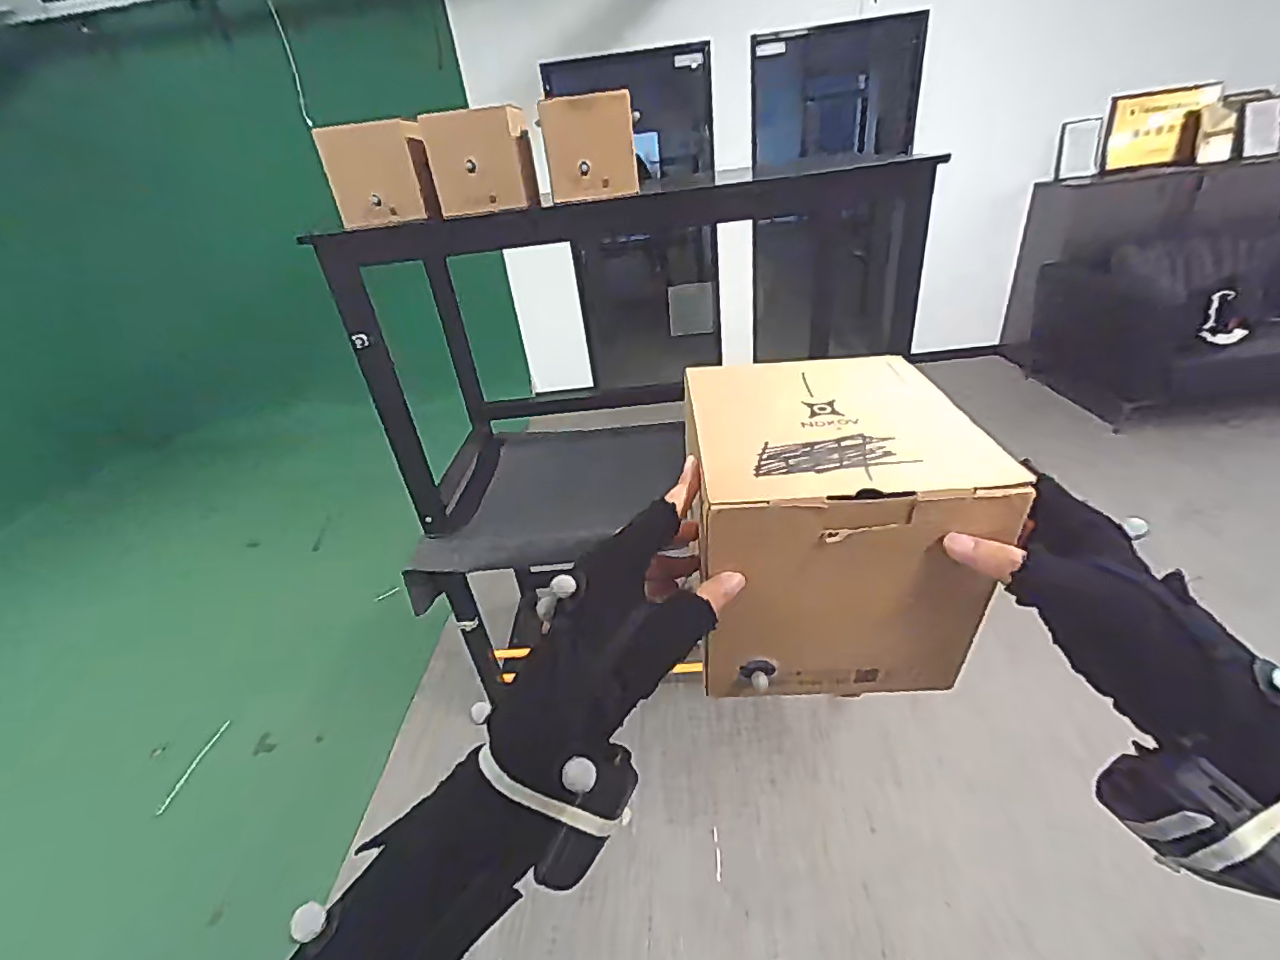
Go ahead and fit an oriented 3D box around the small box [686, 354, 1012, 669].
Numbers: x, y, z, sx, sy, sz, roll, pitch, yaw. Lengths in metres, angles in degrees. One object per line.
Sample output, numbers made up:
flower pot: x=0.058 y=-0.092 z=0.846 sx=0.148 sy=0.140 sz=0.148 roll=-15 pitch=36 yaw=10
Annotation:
small box: x=0.122 y=0.022 z=0.398 sx=0.168 sy=0.176 sz=0.179 roll=-3 pitch=33 yaw=2
